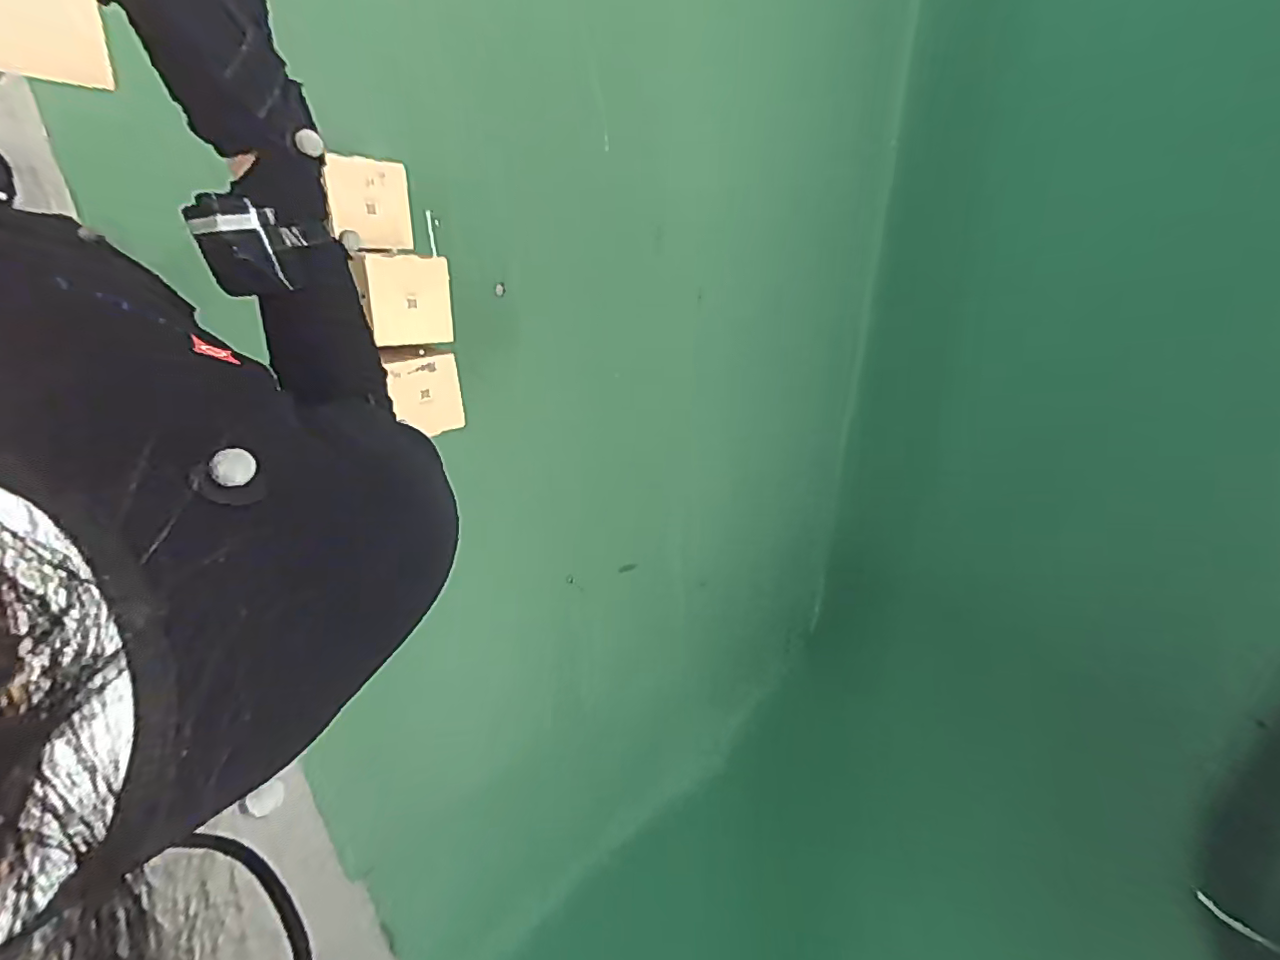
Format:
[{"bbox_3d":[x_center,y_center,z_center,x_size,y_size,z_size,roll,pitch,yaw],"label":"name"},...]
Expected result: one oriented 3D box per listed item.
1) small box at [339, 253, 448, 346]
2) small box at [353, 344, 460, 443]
[{"bbox_3d":[-0.534,-0.393,1.173,0.168,0.176,0.179,-15,116,-39],"label":"small box"},{"bbox_3d":[-0.538,-0.206,1.250,0.168,0.176,0.179,-21,123,-38],"label":"small box"}]
